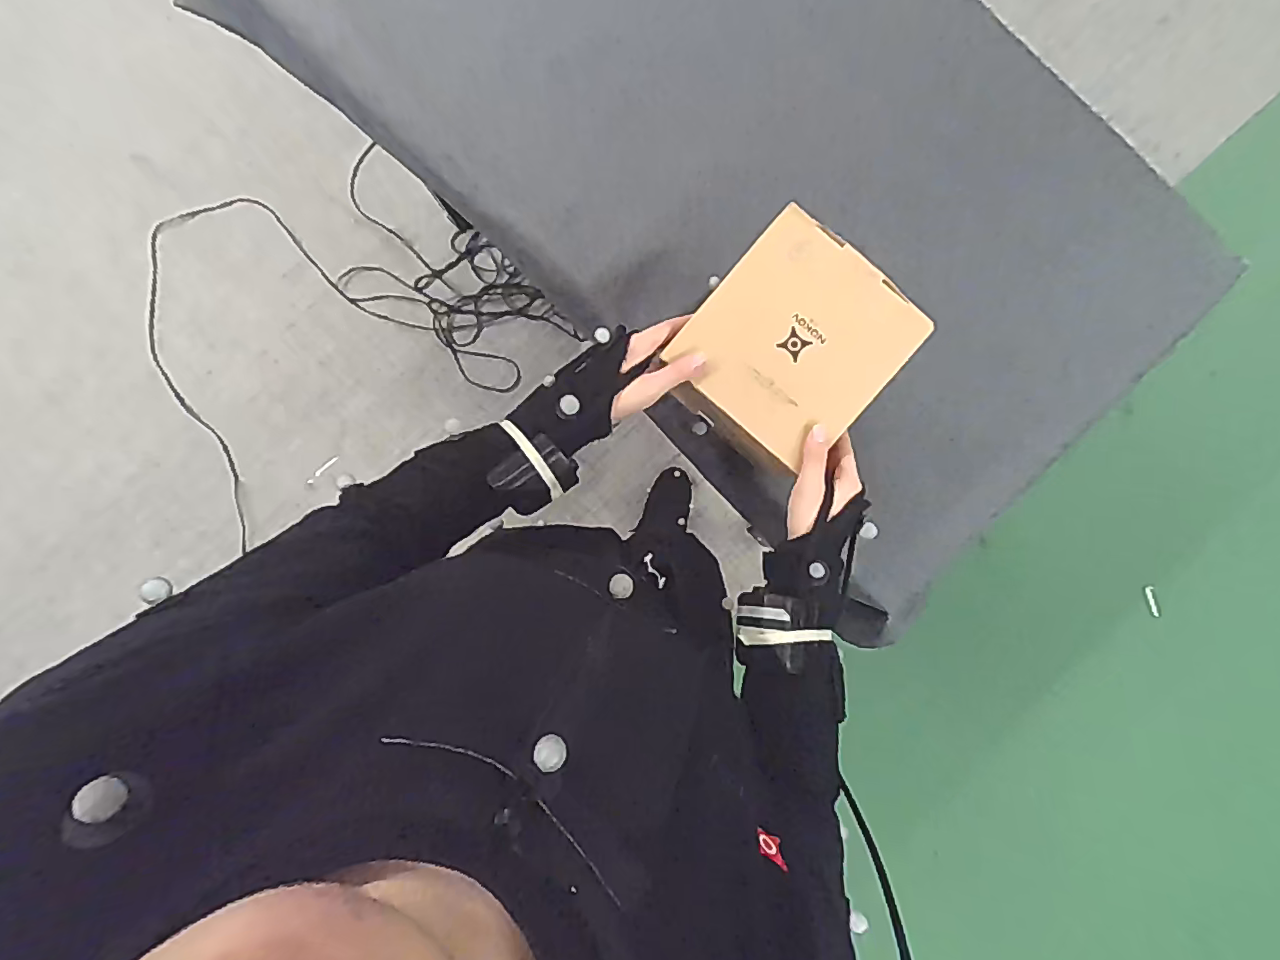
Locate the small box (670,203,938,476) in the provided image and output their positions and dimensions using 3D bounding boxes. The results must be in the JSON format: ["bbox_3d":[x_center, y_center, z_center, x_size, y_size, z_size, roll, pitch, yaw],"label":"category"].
[{"bbox_3d":[0.141,-0.123,0.541,0.168,0.176,0.179,40,93,1],"label":"small box"}]
